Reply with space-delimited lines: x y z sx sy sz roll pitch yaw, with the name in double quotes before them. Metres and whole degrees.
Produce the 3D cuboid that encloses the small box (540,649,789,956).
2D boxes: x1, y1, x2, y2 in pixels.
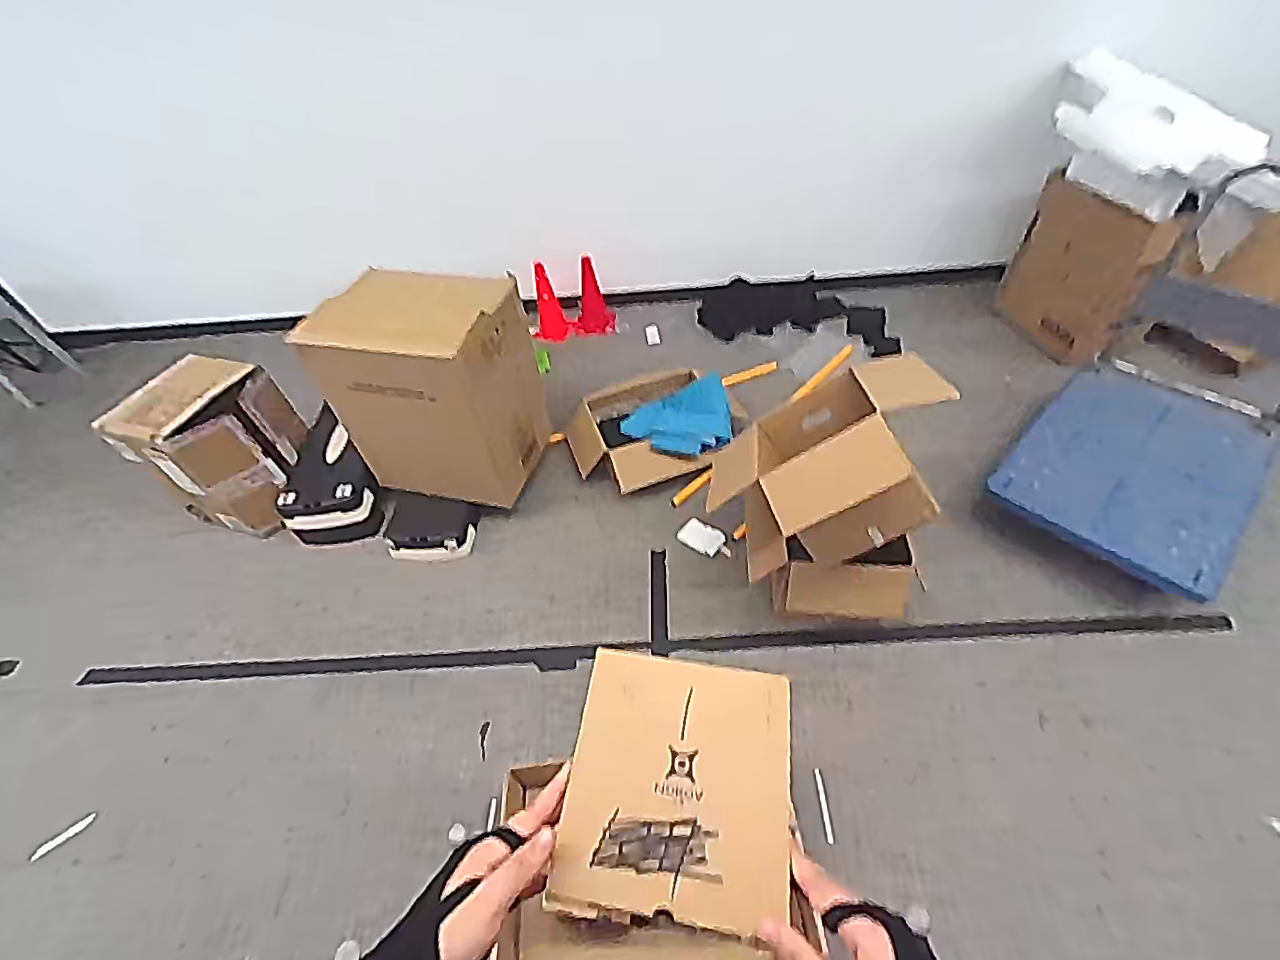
"small box" 0.030 0.268 0.462 0.168 0.176 0.179 6 53 7
